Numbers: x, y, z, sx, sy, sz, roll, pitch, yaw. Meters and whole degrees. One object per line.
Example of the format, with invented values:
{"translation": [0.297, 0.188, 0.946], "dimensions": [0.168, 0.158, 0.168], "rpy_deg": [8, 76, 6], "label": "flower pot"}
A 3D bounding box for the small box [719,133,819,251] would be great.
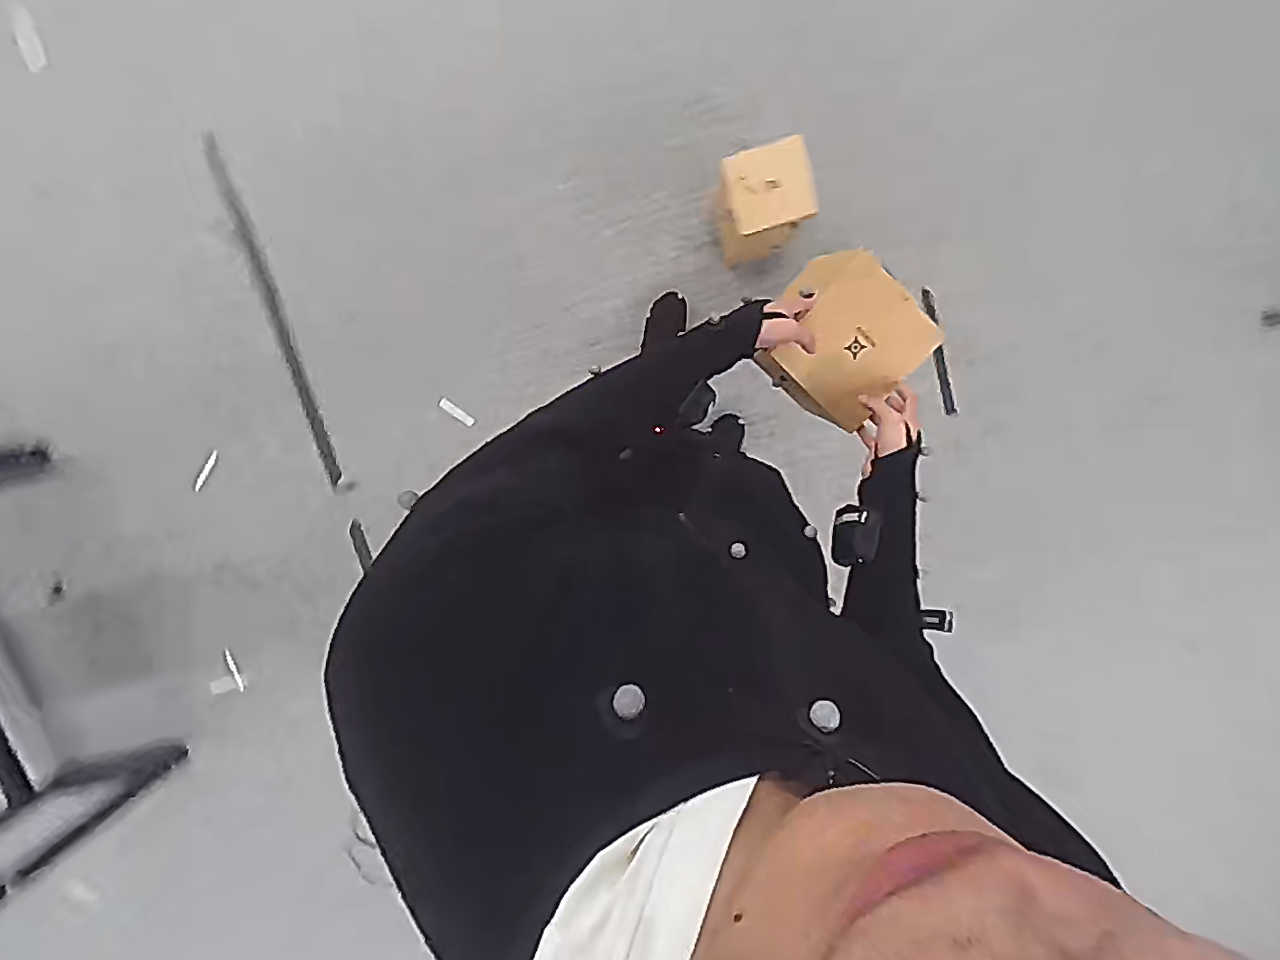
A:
{"translation": [0.288, -0.647, 1.235], "dimensions": [0.179, 0.176, 0.168], "rpy_deg": [-14, 97, 7], "label": "small box"}

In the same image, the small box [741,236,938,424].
{"translation": [0.262, -0.207, 0.765], "dimensions": [0.168, 0.176, 0.179], "rpy_deg": [38, 99, -15], "label": "small box"}

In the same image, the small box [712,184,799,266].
{"translation": [0.291, -0.673, 1.397], "dimensions": [0.179, 0.176, 0.168], "rpy_deg": [-14, 98, 6], "label": "small box"}
